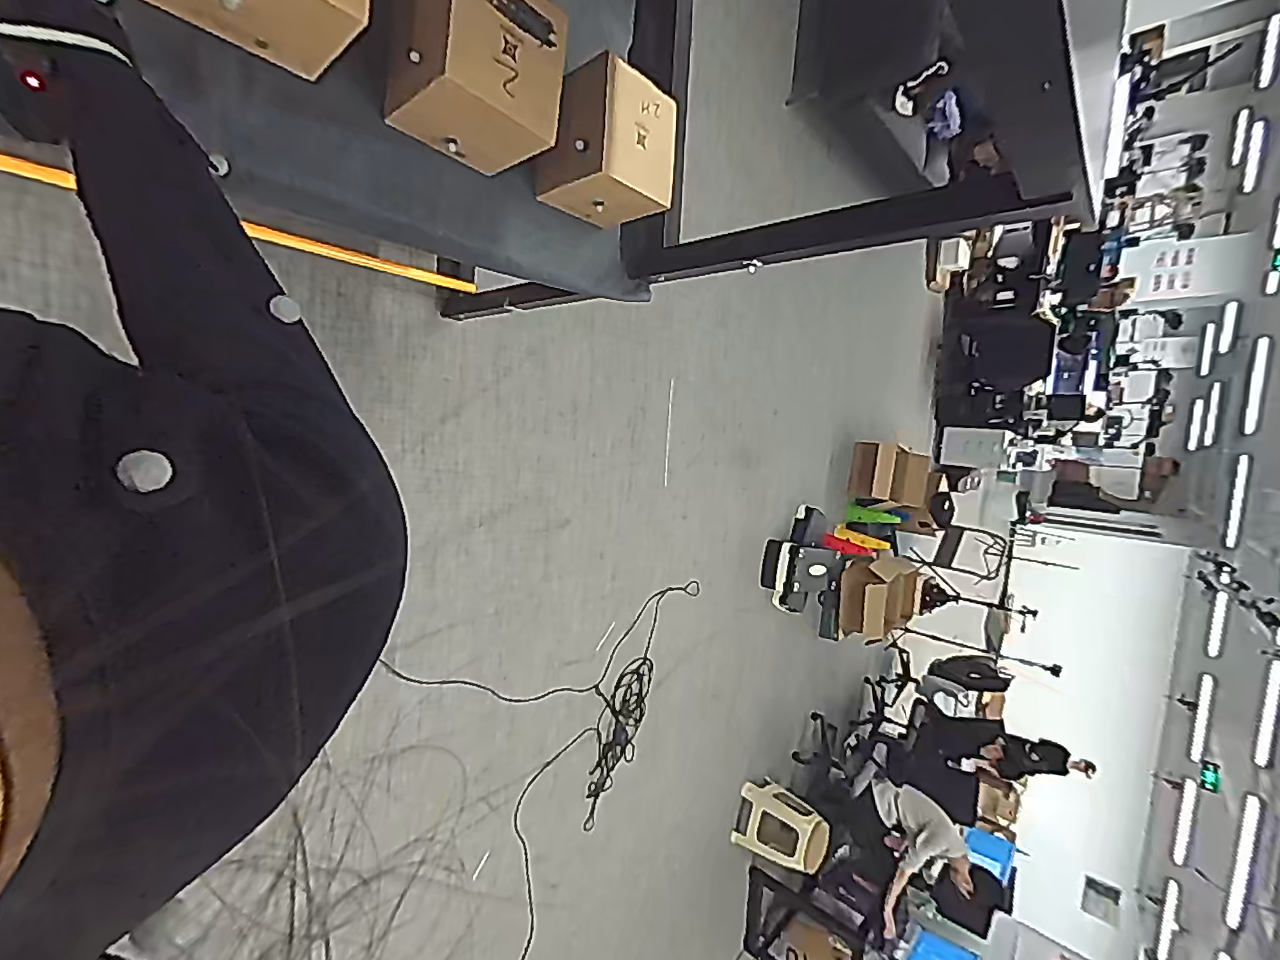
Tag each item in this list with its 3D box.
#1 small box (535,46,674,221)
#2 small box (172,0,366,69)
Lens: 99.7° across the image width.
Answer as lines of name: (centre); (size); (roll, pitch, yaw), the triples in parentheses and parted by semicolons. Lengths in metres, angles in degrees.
small box: (-0.063, -0.563, 0.913); (0.168, 0.176, 0.179); (-3, 97, -49)
small box: (-0.390, -0.570, 0.545); (0.168, 0.176, 0.179); (-2, 97, -49)
